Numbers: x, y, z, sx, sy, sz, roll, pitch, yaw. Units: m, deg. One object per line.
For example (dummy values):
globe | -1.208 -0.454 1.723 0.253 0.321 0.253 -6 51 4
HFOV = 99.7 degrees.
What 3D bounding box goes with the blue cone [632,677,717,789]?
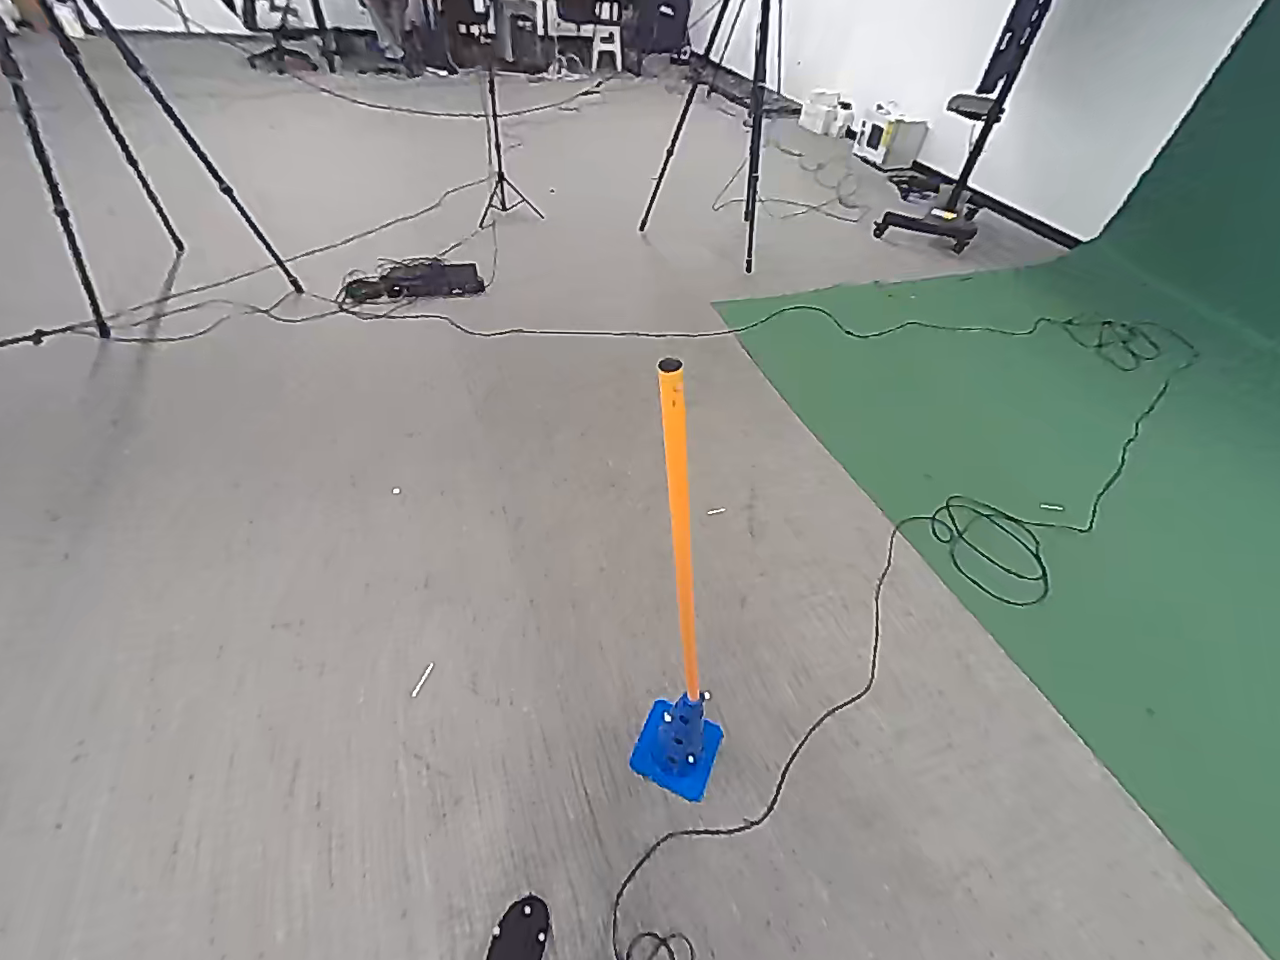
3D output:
blue cone | 0.097 0.567 1.275 0.193 0.380 0.192 19 49 14
